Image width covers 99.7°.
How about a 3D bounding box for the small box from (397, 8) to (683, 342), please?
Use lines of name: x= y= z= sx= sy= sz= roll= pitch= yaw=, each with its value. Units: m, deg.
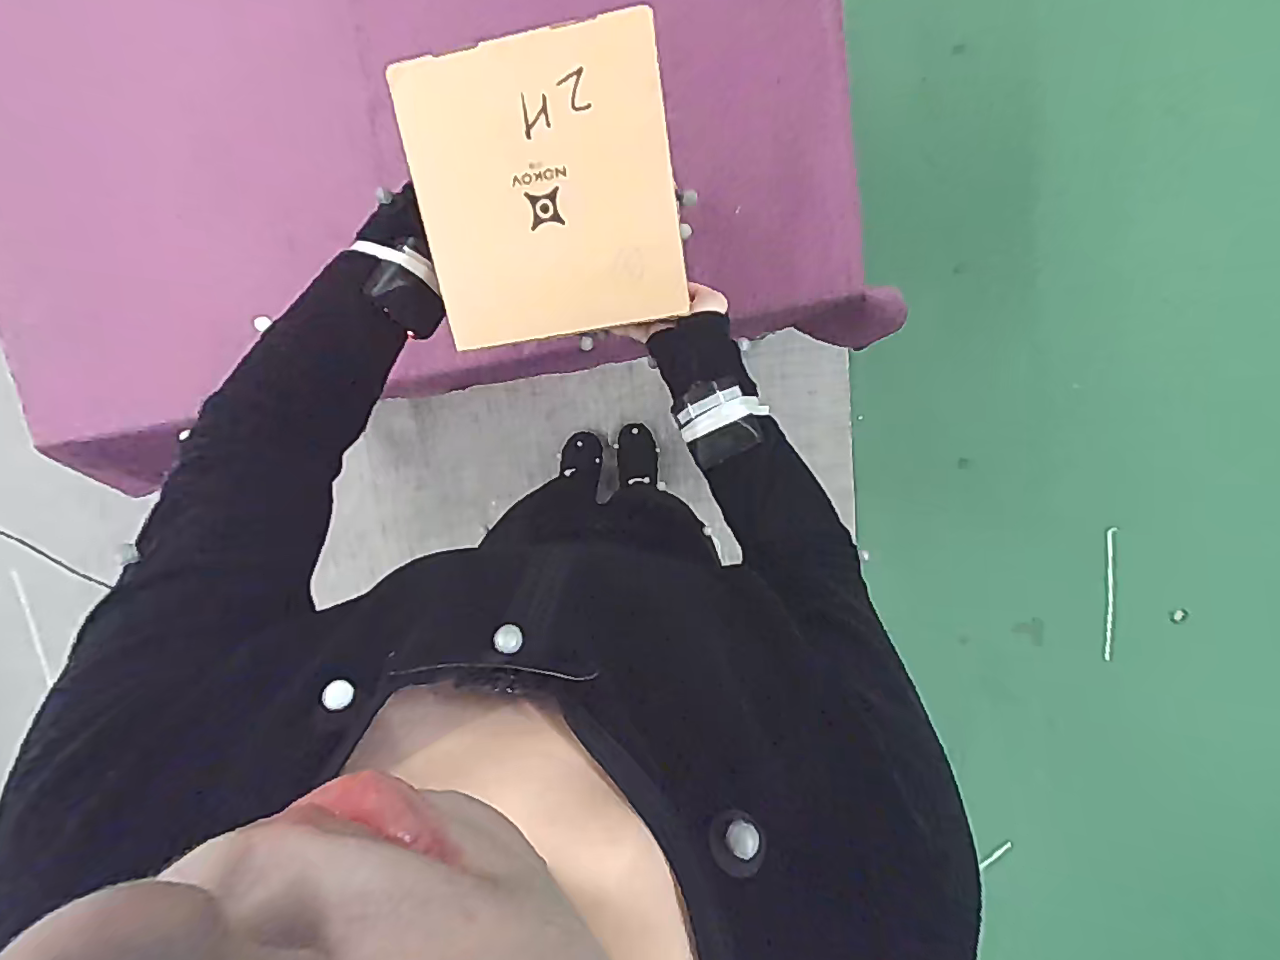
small box: x=-0.055 y=-0.211 z=0.426 sx=0.168 sy=0.176 sz=0.179 roll=-7 pitch=105 yaw=5
